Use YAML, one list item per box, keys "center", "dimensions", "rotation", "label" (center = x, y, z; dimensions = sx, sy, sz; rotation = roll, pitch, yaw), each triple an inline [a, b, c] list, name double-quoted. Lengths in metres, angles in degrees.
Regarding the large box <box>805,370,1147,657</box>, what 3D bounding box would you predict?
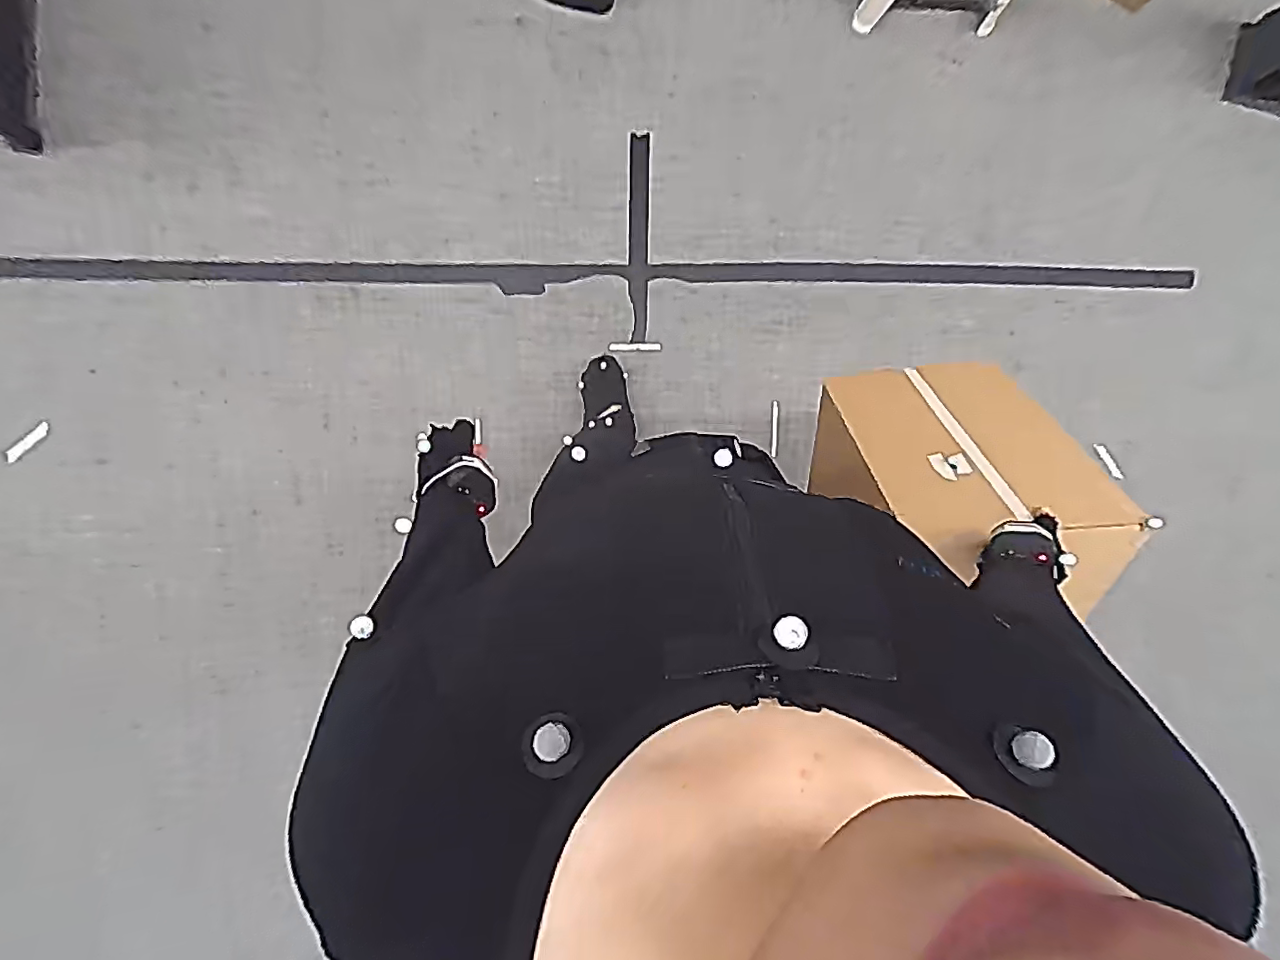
- center: [0.517, 0.049, 0.957]
  dimensions: [0.320, 0.408, 0.320]
  rotation: [-5, 133, 1]
  label: "large box"
